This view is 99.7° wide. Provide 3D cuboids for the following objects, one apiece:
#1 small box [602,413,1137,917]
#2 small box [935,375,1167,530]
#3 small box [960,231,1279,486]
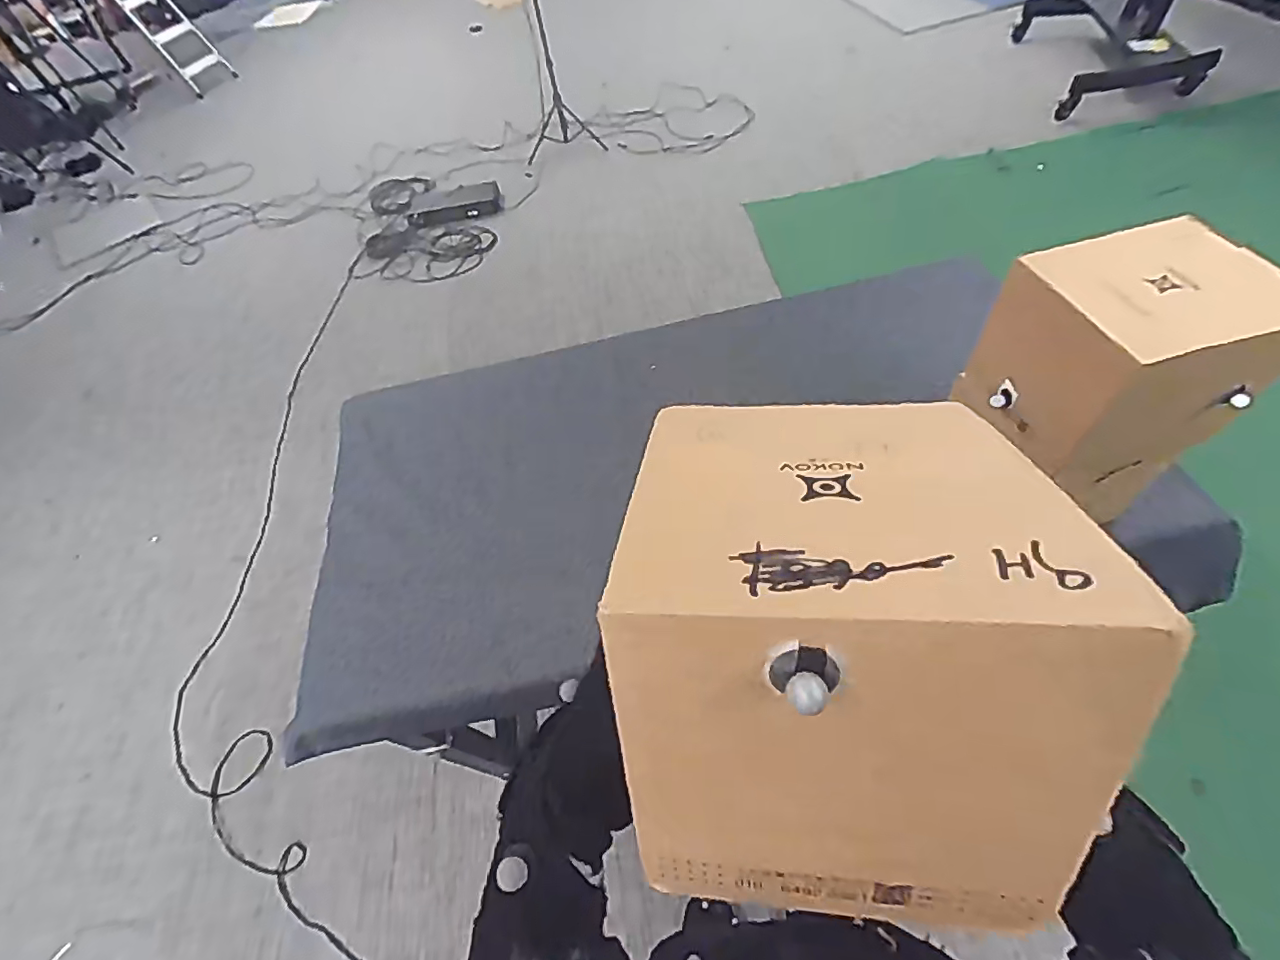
[{"bbox_3d":[0.084,0.073,0.280,0.168,0.176,0.179,0,27,10],"label":"small box"},{"bbox_3d":[0.496,-0.033,0.693,0.168,0.176,0.179,-16,53,-2],"label":"small box"},{"bbox_3d":[0.476,-0.119,0.557,0.179,0.176,0.168,-15,52,0],"label":"small box"}]
